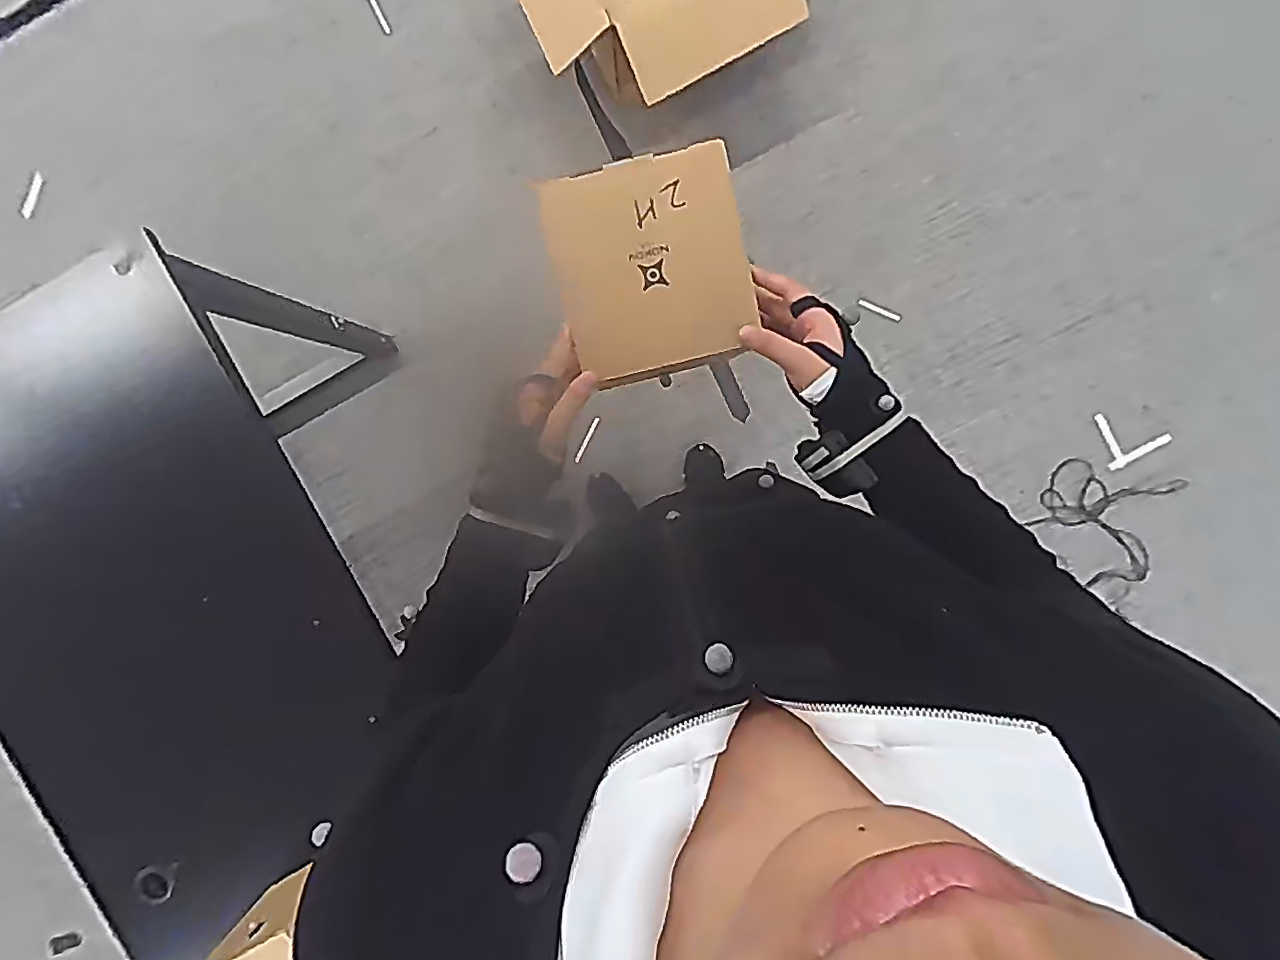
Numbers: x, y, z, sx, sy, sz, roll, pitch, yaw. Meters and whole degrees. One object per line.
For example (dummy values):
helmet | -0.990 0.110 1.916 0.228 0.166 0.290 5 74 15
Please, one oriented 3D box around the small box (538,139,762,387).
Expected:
small box | 0.011 -0.197 0.546 0.168 0.176 0.179 -14 97 2

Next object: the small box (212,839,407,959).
small box | -0.455 0.653 0.751 0.179 0.176 0.168 -32 92 5
